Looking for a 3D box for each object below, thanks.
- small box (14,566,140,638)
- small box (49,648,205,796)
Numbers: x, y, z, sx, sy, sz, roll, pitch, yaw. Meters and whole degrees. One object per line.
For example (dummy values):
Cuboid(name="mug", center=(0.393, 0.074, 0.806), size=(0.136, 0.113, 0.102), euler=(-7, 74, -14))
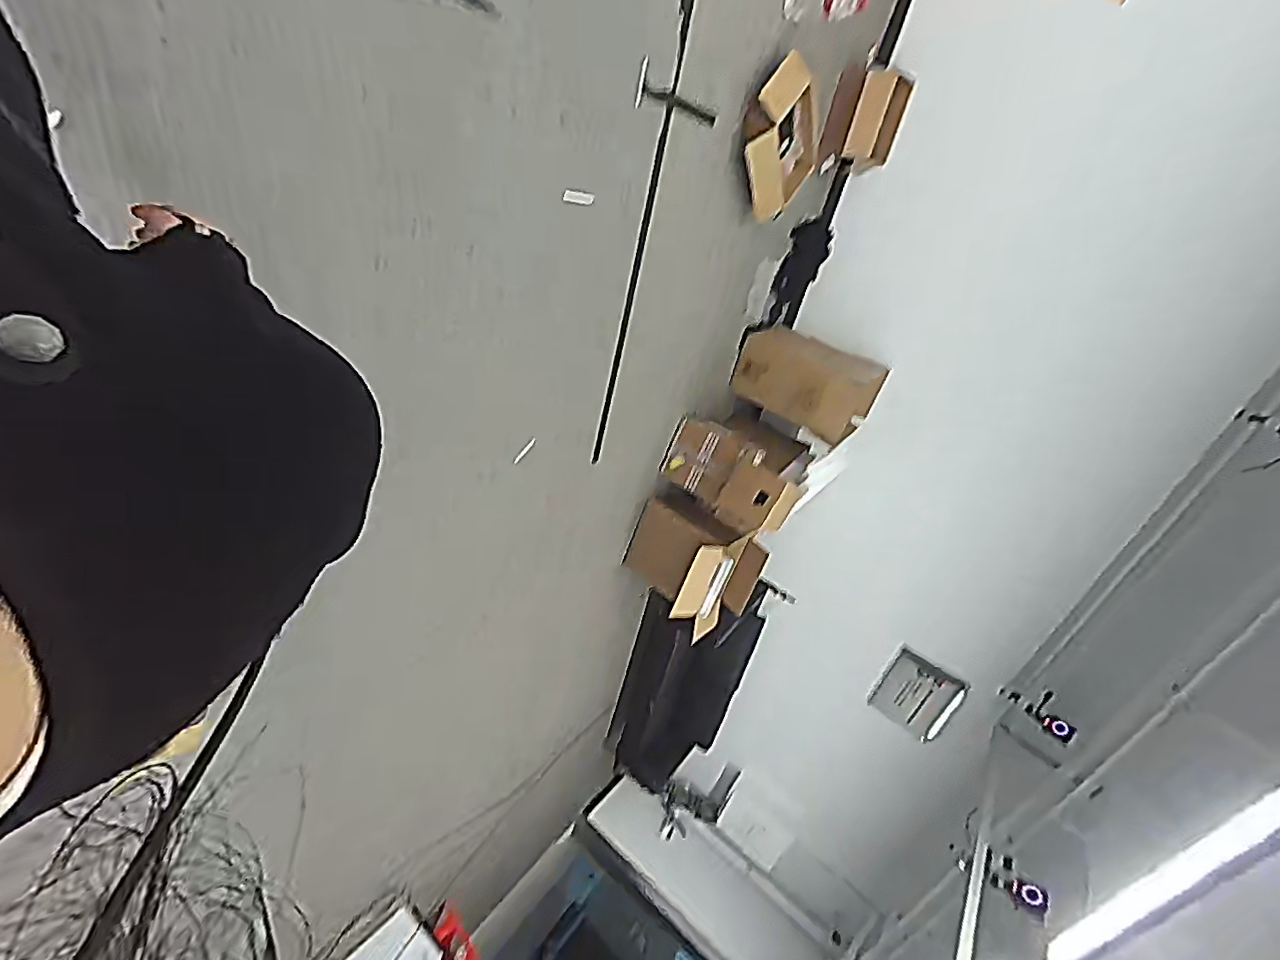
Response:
Cuboid(name="small box", center=(-1.273, 0.322, 1.241), size=(0.168, 0.176, 0.179), euler=(-29, 141, -46))
Cuboid(name="small box", center=(-1.026, 0.478, 1.089), size=(0.168, 0.176, 0.179), euler=(-30, 141, -45))
